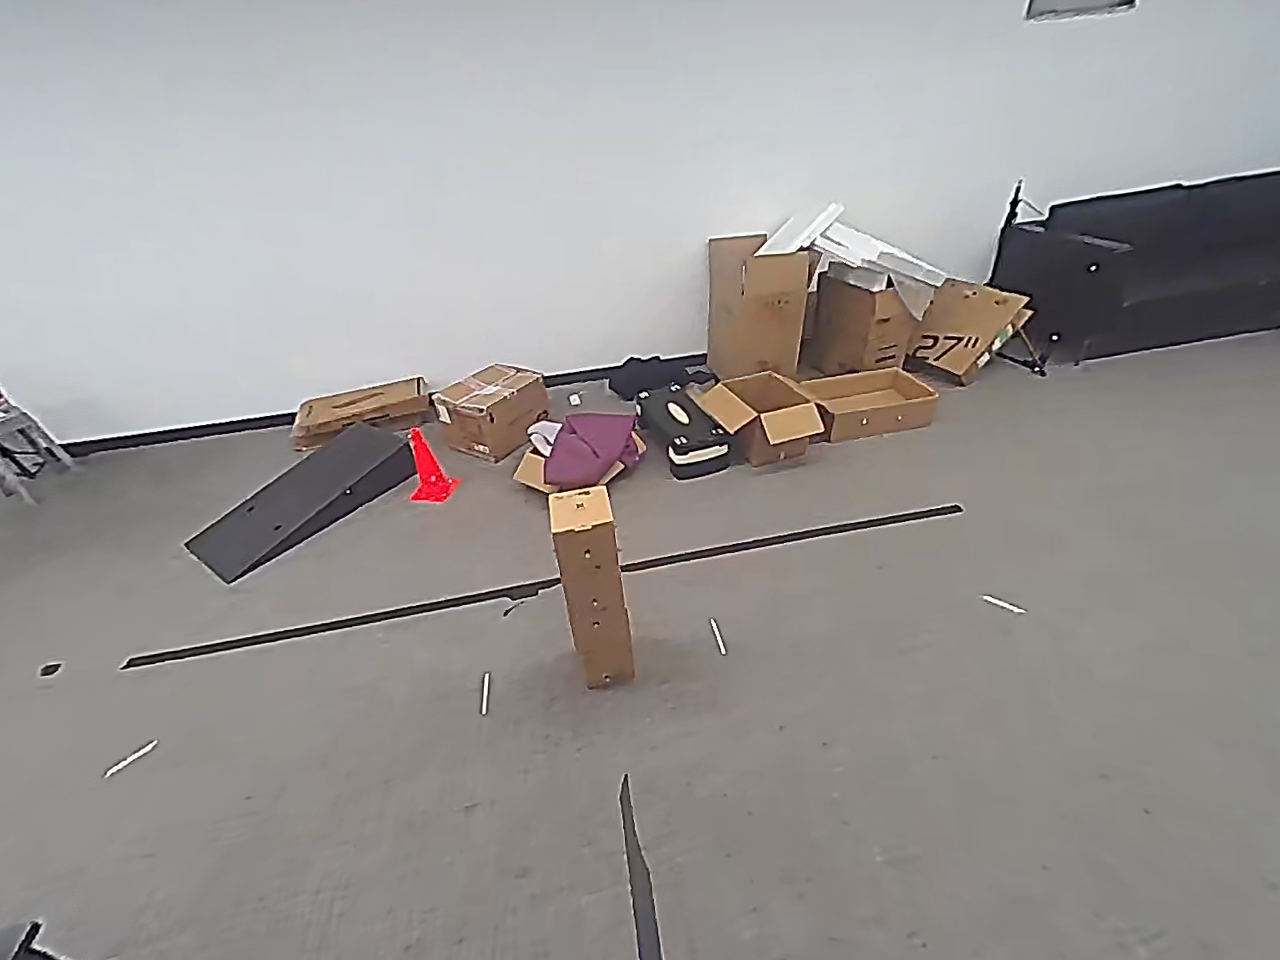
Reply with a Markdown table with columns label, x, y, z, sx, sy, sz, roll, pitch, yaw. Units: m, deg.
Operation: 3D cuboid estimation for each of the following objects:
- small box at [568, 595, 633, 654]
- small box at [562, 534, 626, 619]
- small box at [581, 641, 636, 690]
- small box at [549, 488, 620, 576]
| label | x | y | z | sx | sy | sz | roll | pitch | yaw |
| --- | --- | --- | --- | --- | --- | --- | --- | --- | --- |
| small box | -0.128 | 0.420 | 1.692 | 0.179 | 0.176 | 0.168 | -10 | 35 | -6 |
| small box | -0.138 | 0.283 | 1.601 | 0.168 | 0.176 | 0.179 | -9 | 35 | -3 |
| small box | -0.114 | 0.556 | 1.784 | 0.168 | 0.176 | 0.179 | -13 | 36 | -10 |
| small box | -0.154 | 0.150 | 1.506 | 0.168 | 0.176 | 0.179 | -10 | 35 | -6 |
